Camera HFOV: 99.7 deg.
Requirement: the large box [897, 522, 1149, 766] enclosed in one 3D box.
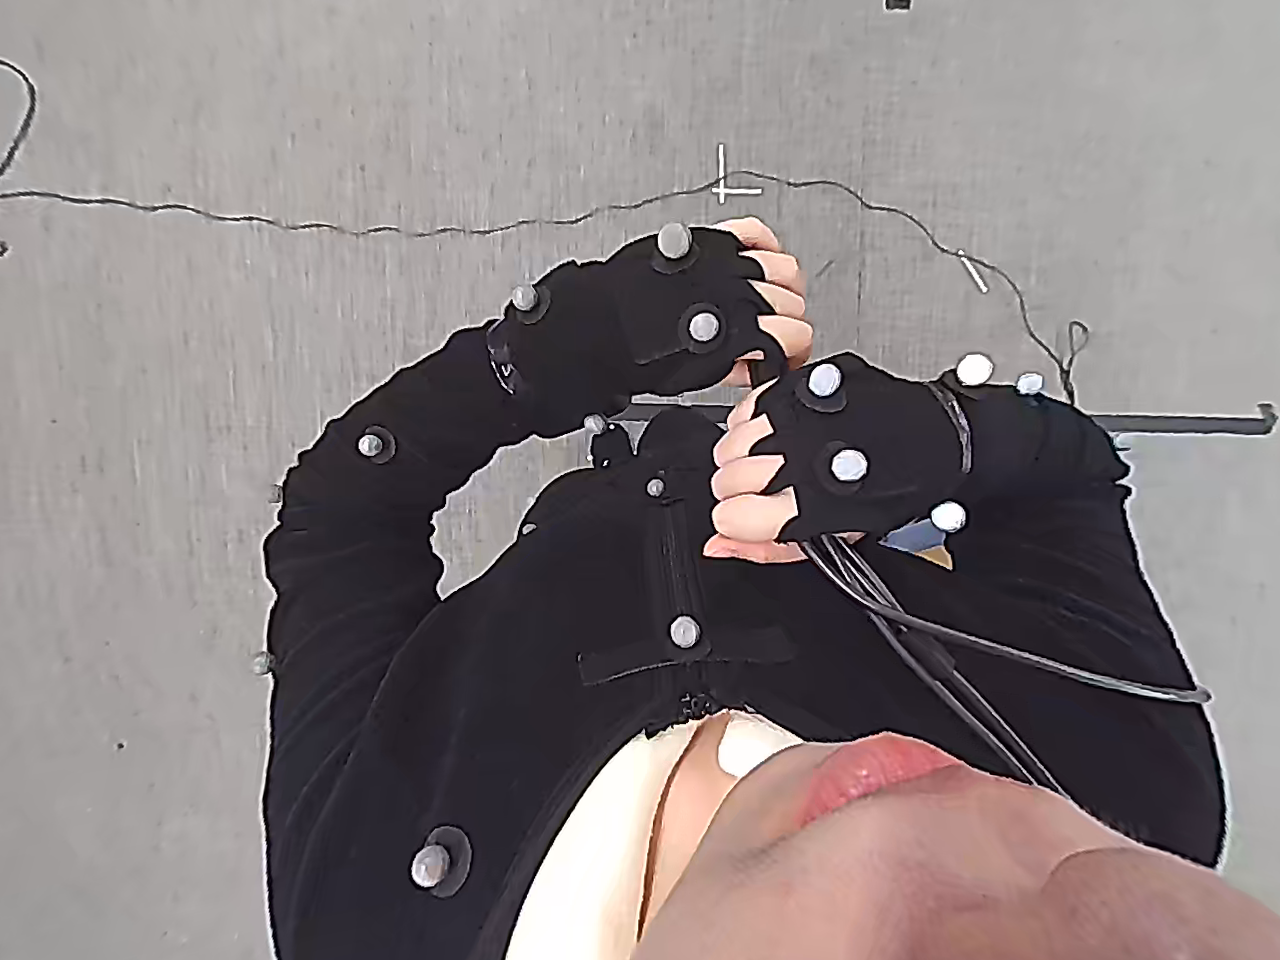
[{"bbox_3d":[0.854,0.347,1.249,0.320,0.320,0.408,-15,96,-2],"label":"large box"}]
